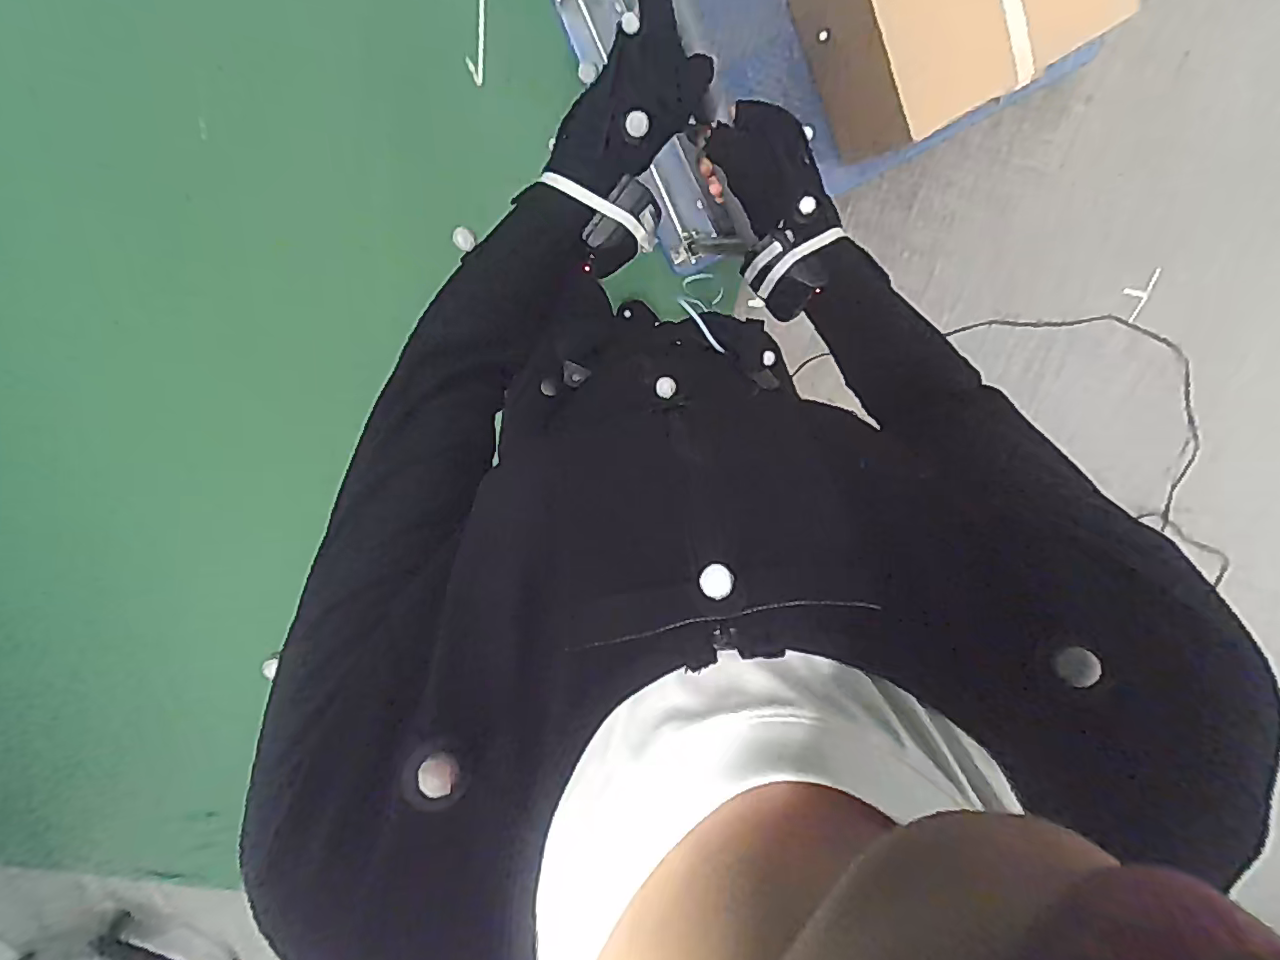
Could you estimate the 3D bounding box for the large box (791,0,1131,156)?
[{"bbox_3d":[0.438,-0.794,0.826,0.320,0.320,0.408,-27,111,11],"label":"large box"}]
